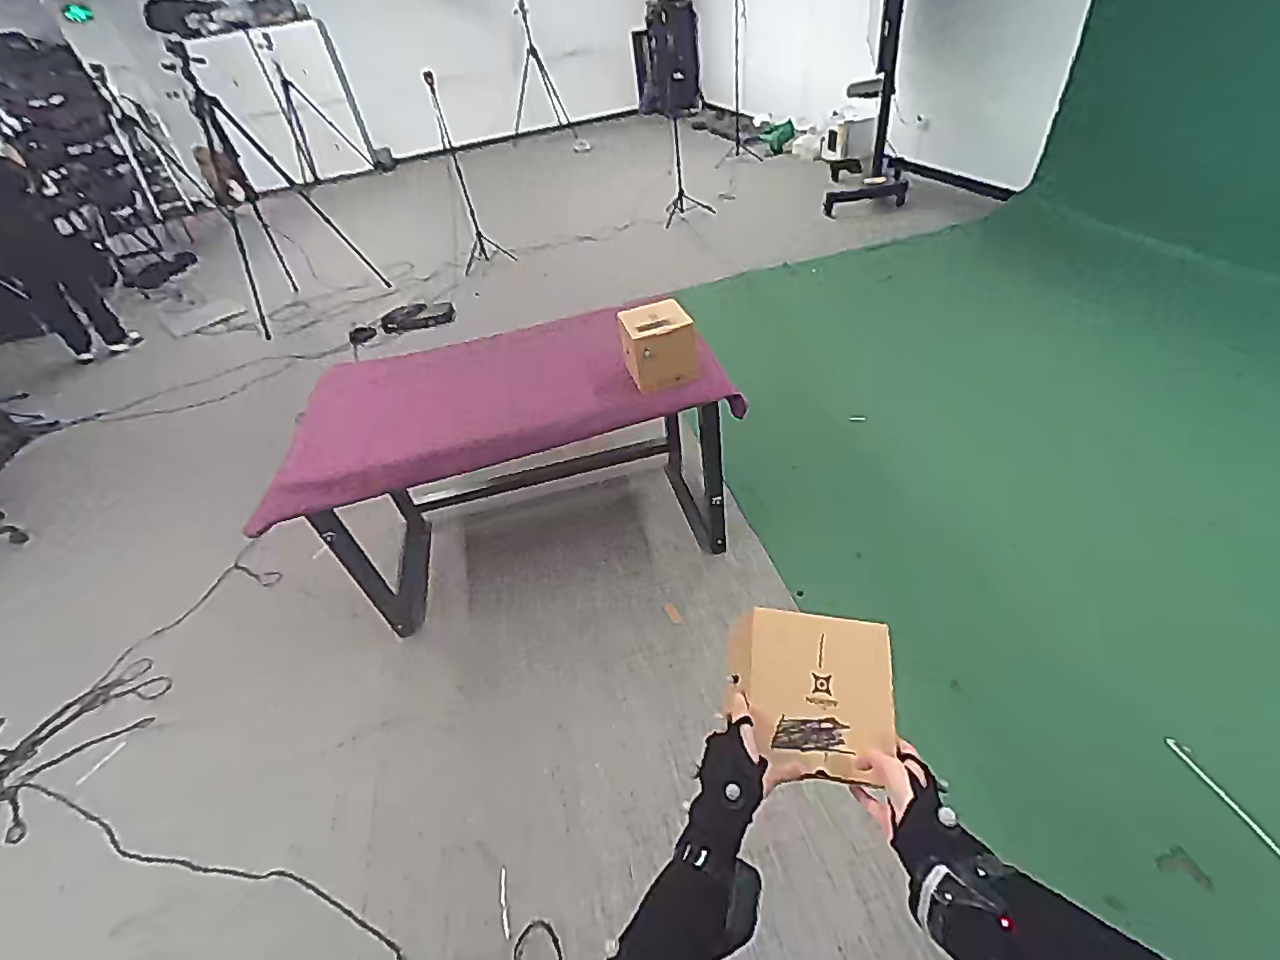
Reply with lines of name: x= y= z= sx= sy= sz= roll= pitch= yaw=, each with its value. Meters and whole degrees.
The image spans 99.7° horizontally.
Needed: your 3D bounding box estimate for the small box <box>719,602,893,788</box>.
small box: x=0.196 y=0.268 z=0.678 sx=0.168 sy=0.176 sz=0.179 roll=8 pitch=65 yaw=2
